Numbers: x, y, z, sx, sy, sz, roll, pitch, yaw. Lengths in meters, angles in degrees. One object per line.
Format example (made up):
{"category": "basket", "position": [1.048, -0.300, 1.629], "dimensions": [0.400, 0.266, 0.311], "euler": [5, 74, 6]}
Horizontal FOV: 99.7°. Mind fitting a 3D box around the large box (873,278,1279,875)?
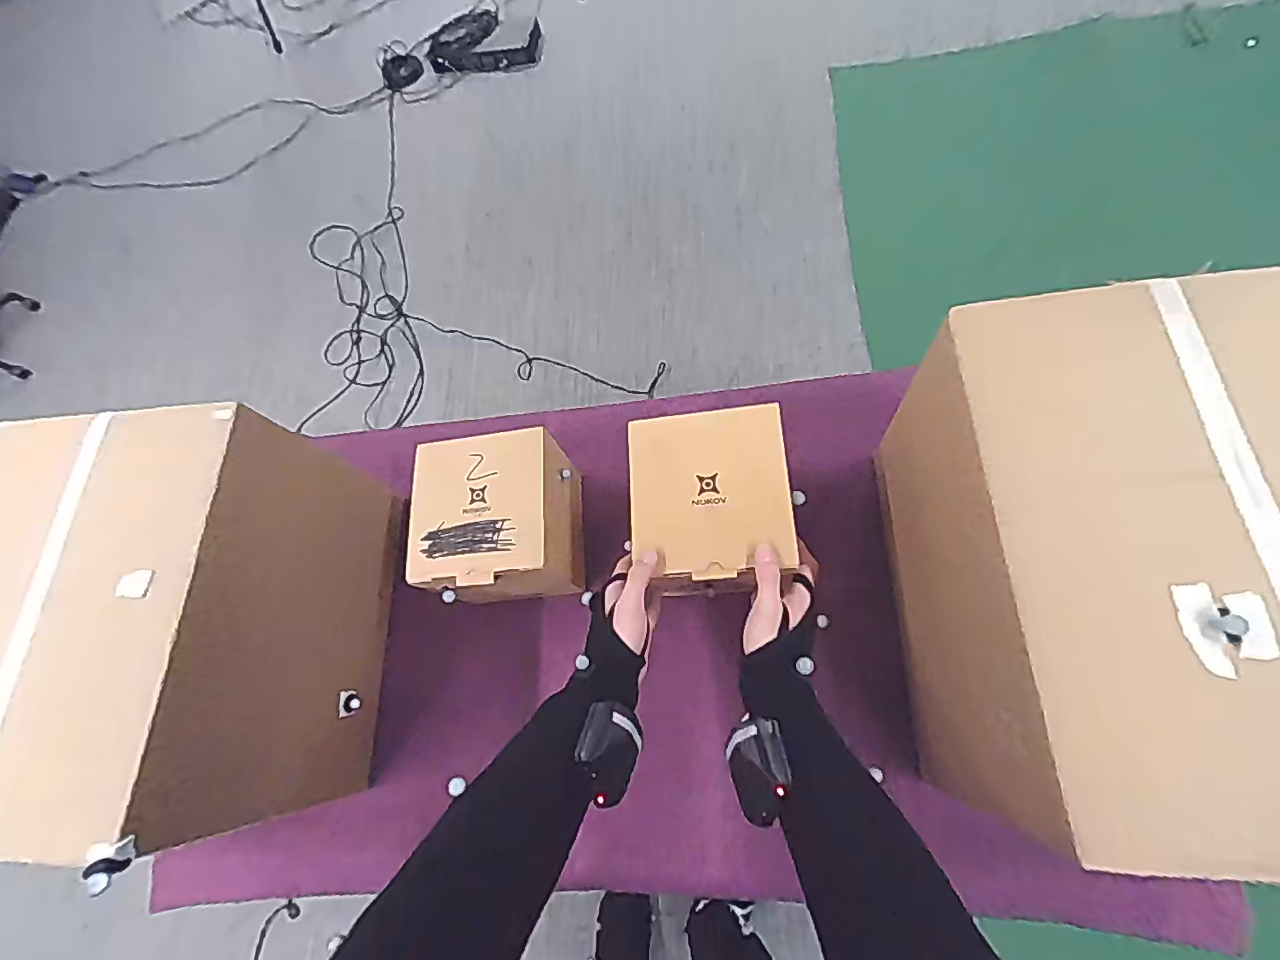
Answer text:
{"category": "large box", "position": [0.440, 0.083, 0.503], "dimensions": [0.320, 0.320, 0.408], "euler": [-4, 69, 10]}
